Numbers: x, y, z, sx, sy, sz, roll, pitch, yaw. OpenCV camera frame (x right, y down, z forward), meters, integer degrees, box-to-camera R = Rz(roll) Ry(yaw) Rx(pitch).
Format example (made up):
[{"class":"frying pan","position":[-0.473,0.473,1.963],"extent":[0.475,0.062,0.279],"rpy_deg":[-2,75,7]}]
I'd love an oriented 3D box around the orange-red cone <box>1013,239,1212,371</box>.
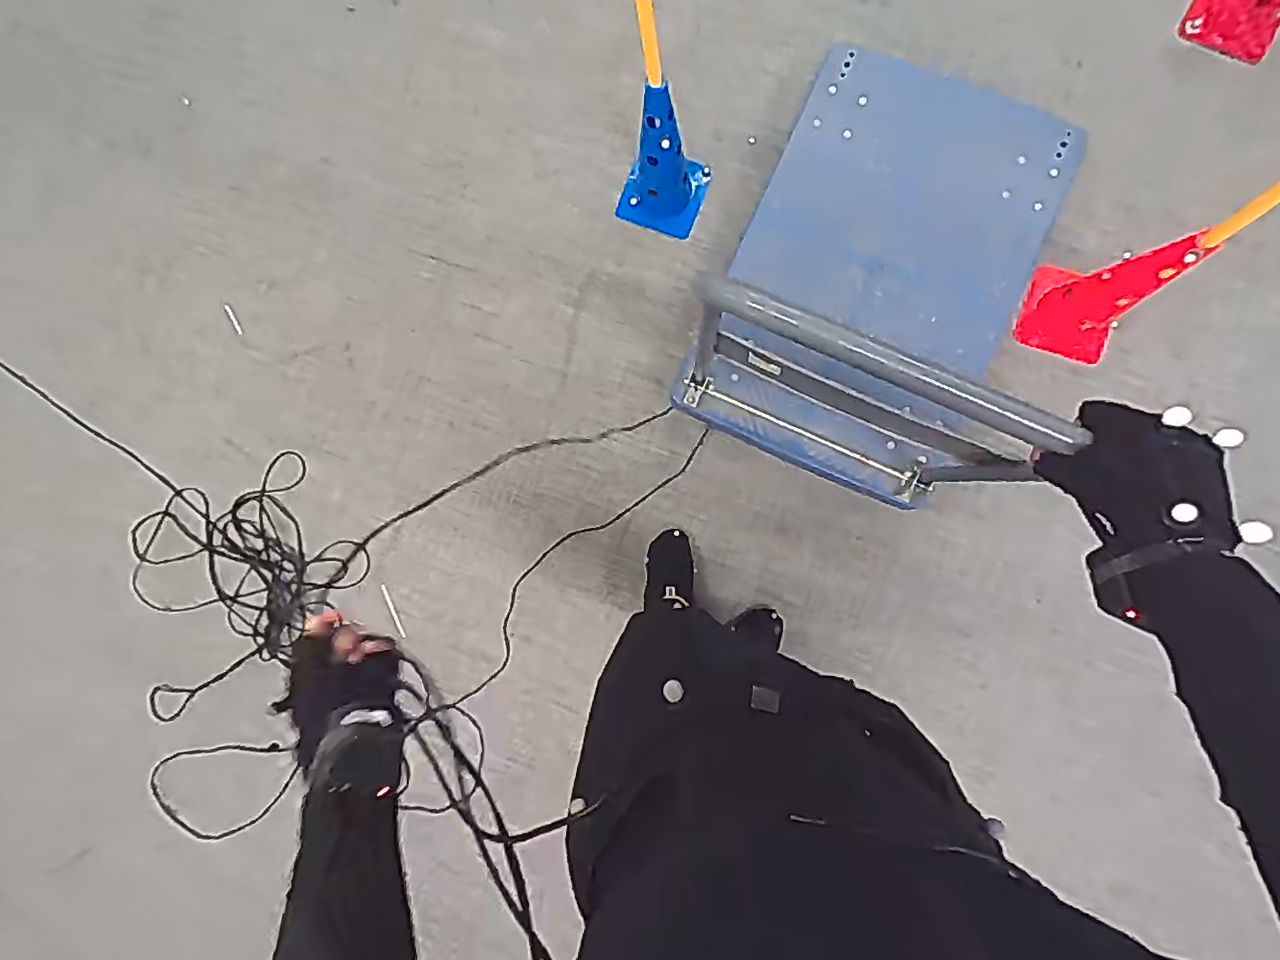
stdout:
[{"class":"orange-red cone","position":[0.990,-0.386,1.114],"extent":[0.199,0.360,0.198],"rpy_deg":[21,88,7]}]
